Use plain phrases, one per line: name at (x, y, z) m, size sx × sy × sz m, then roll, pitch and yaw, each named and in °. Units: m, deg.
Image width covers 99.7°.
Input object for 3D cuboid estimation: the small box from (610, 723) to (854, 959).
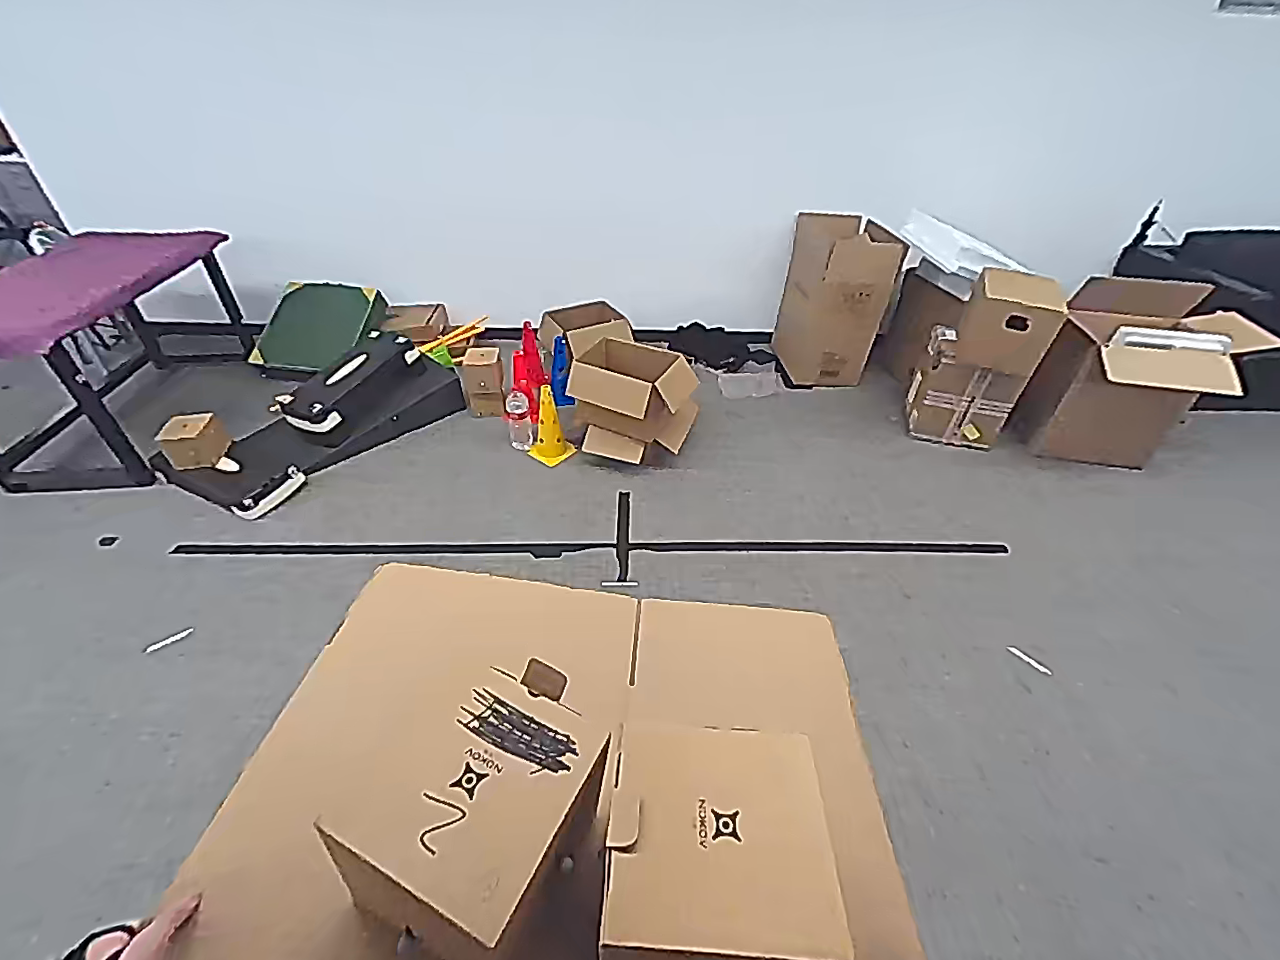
small box at (0.067, 0.350, 0.493) m, size 0.179 × 0.176 × 0.168 m, roll 3°, pitch 35°, yaw 1°
